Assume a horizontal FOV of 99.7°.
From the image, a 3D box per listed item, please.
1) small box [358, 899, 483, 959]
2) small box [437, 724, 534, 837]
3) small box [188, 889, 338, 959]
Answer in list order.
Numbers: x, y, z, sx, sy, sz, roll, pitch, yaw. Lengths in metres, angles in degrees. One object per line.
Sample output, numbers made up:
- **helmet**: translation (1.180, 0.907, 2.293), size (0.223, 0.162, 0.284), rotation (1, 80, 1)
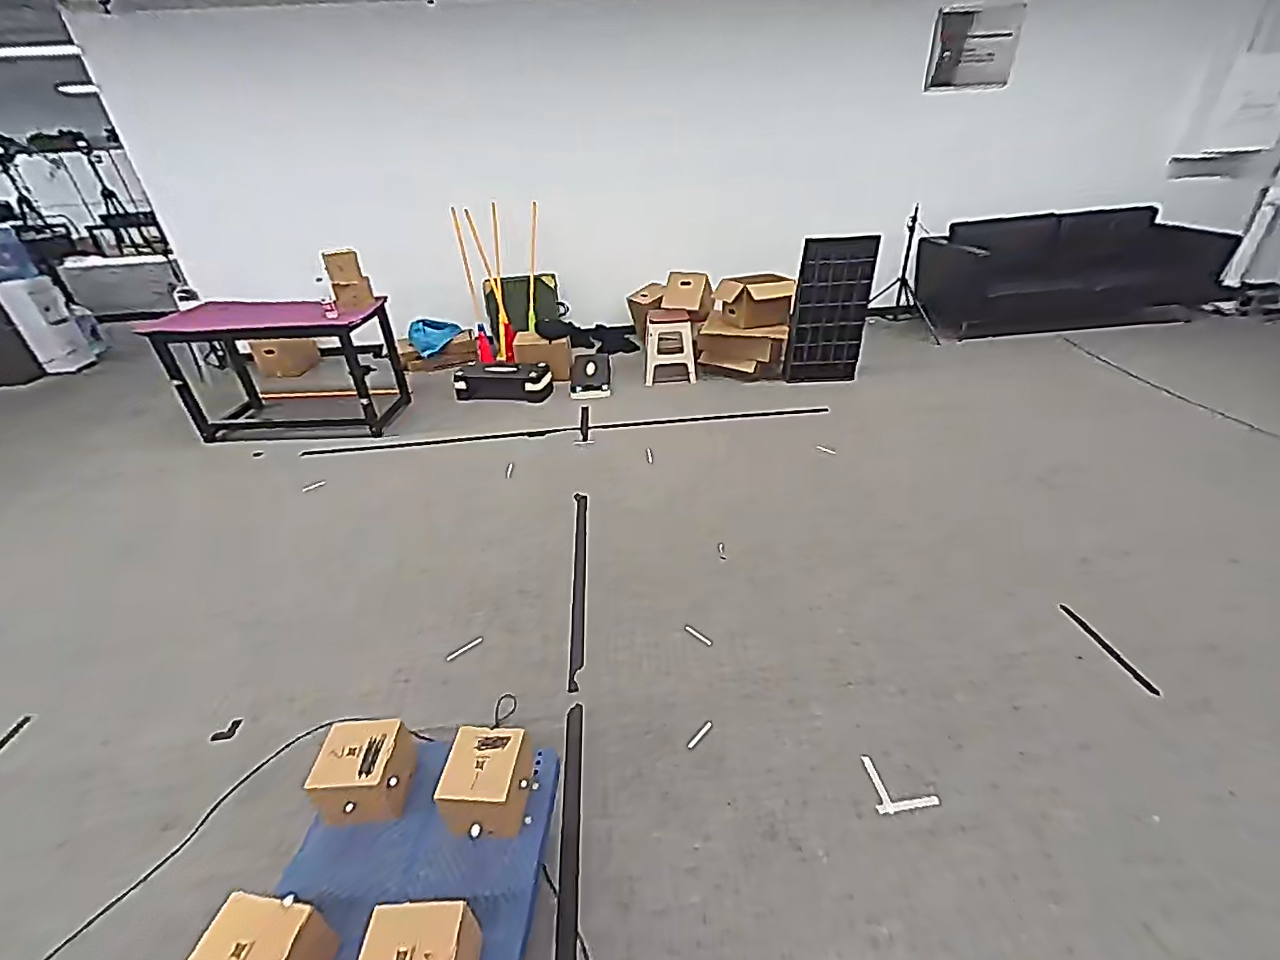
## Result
- **small box**: translation (-0.408, 0.910, 0.998), size (0.179, 0.176, 0.168), rotation (-3, 33, 0)
- **small box**: translation (-0.360, 0.718, 1.298), size (0.168, 0.176, 0.179), rotation (1, 34, 5)
- **small box**: translation (-0.716, 0.914, 1.018), size (0.179, 0.176, 0.168), rotation (4, 32, 8)
